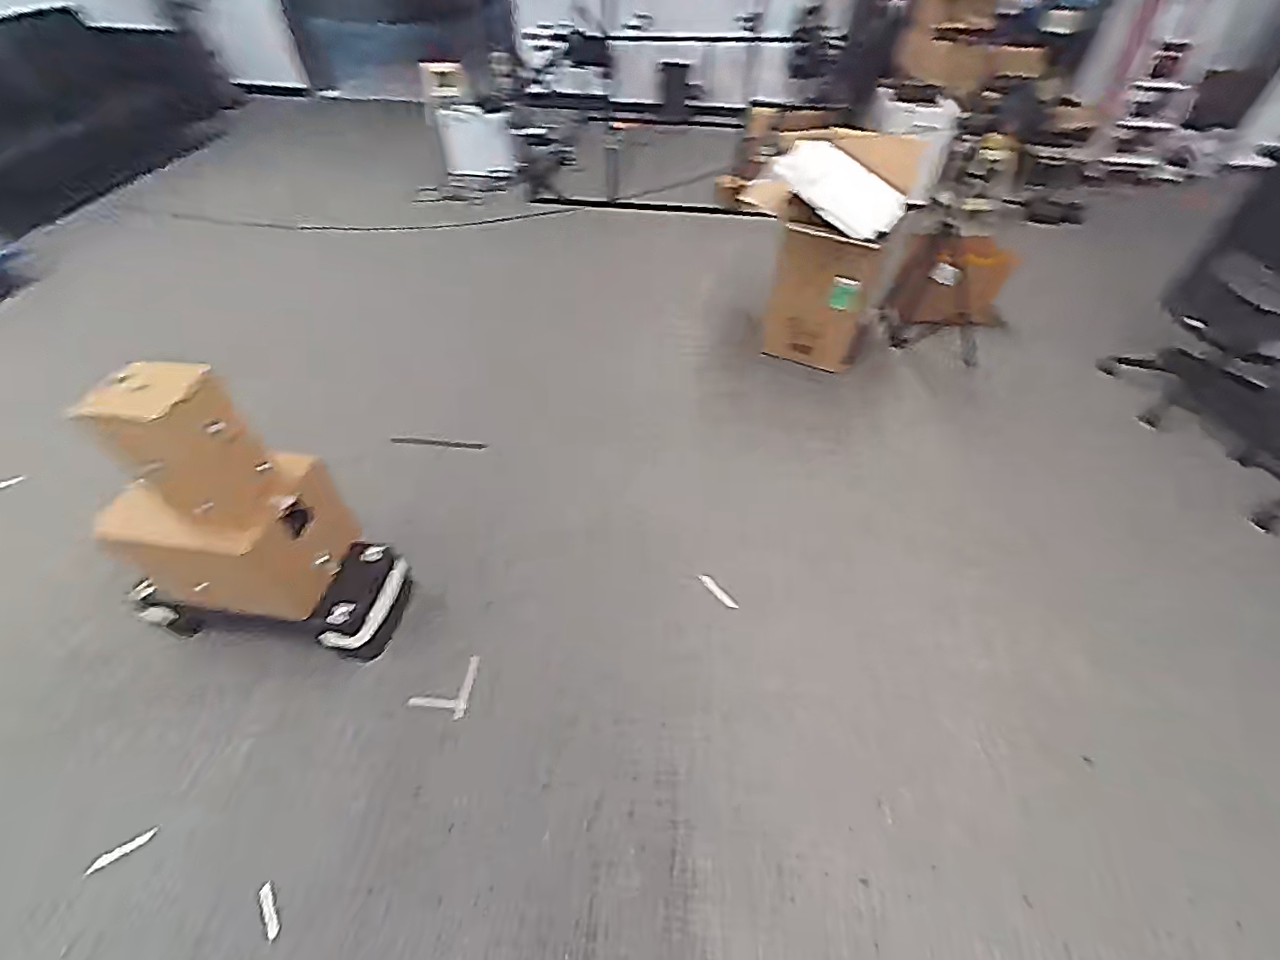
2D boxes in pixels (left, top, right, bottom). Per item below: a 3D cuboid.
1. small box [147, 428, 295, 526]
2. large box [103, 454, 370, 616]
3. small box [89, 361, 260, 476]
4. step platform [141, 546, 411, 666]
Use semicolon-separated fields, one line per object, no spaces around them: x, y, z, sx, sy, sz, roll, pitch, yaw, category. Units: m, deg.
-0.945;-0.012;1.244;0.179;0.176;0.168;6;48;6;small box
-1.024;0.137;1.438;0.408;0.320;0.320;5;47;6;large box
-0.948;-0.125;1.125;0.179;0.176;0.168;6;47;4;small box
-1.057;0.315;1.598;0.684;0.204;0.286;9;48;9;step platform
